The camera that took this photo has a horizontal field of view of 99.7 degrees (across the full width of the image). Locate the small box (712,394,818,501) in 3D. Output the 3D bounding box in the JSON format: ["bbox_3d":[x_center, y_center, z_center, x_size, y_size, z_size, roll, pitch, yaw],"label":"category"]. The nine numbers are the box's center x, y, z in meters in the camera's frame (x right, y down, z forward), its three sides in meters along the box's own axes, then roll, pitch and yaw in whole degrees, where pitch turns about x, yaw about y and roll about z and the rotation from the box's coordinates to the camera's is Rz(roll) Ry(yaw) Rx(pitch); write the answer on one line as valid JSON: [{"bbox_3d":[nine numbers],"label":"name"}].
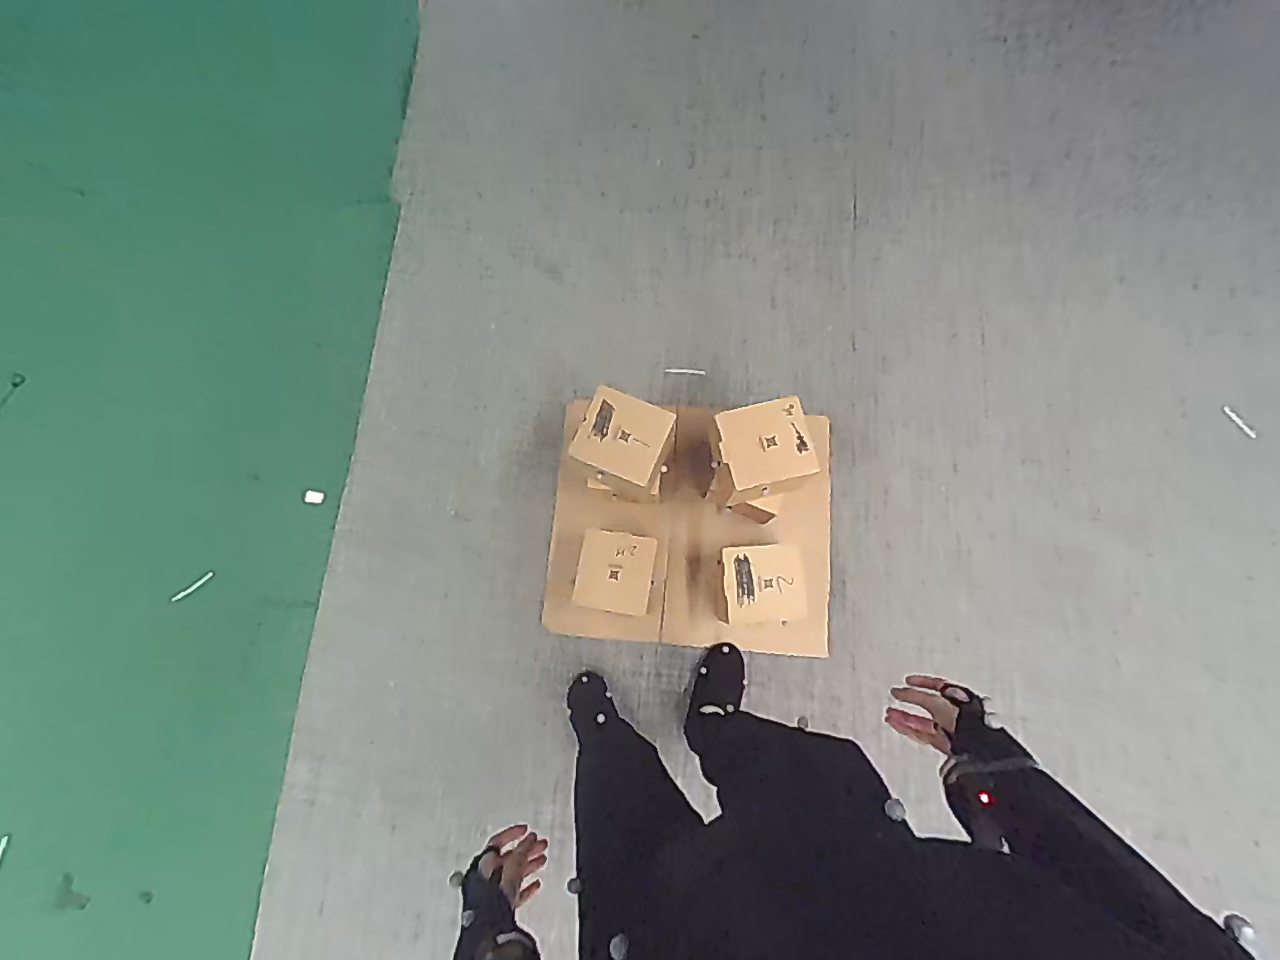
[{"bbox_3d":[0.253,-0.061,1.146,0.179,0.176,0.168,-13,77,0],"label":"small box"}]

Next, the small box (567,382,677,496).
[{"bbox_3d":[-0.034,-0.080,1.162,0.179,0.176,0.168,23,79,6],"label":"small box"}]

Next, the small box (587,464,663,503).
[{"bbox_3d":[-0.028,-0.047,1.323,0.168,0.176,0.179,6,77,3],"label":"small box"}]

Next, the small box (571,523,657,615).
[{"bbox_3d":[-0.053,0.210,1.265,0.168,0.176,0.179,10,78,3],"label":"small box"}]

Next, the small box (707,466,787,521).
[{"bbox_3d":[0.268,-0.017,1.303,0.168,0.176,0.179,23,80,7],"label":"small box"}]
